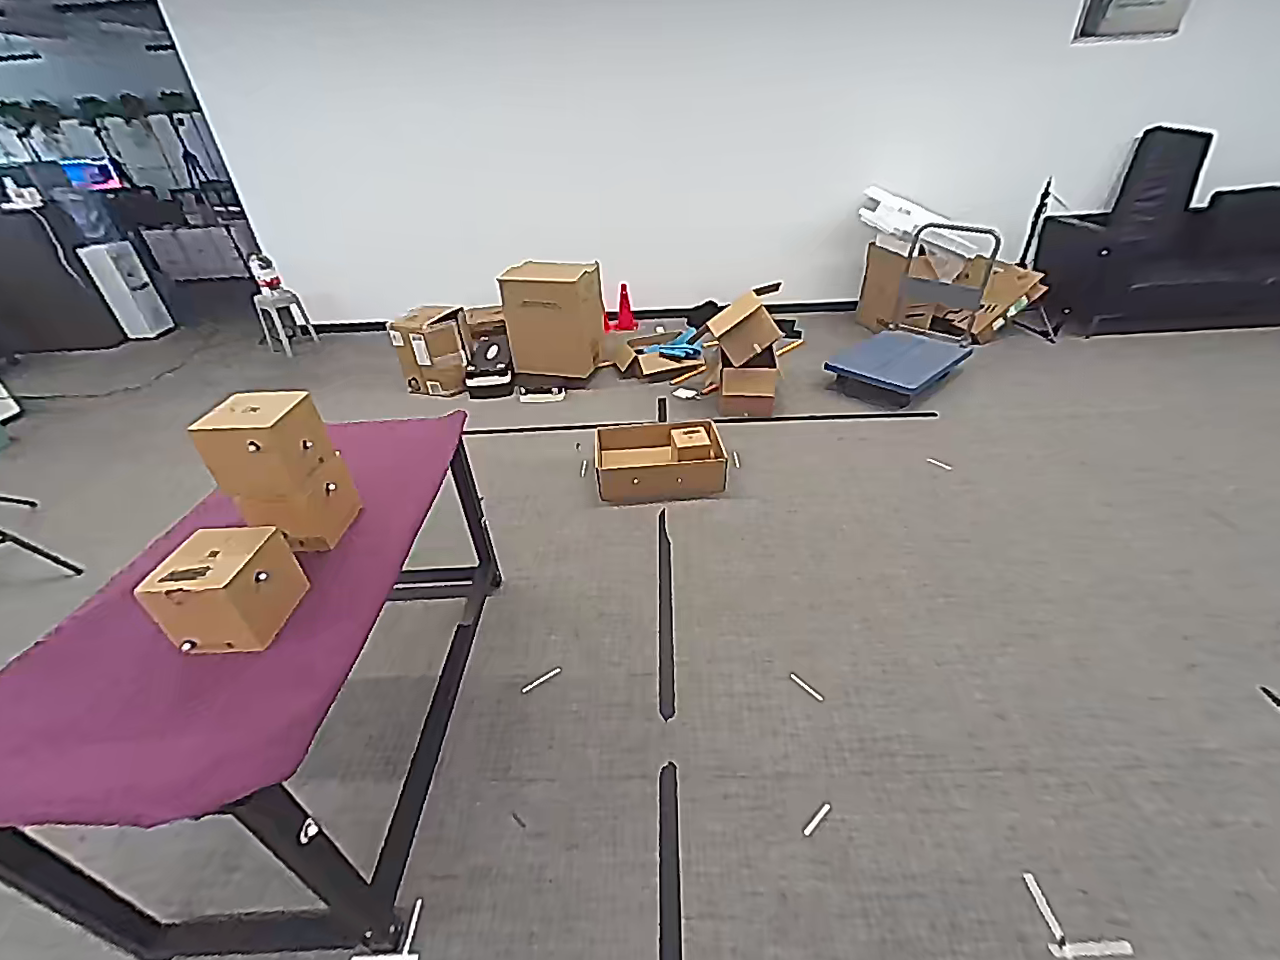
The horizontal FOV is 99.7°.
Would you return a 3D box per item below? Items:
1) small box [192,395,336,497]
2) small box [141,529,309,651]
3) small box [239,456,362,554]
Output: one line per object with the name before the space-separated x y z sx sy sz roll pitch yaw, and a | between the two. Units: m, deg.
small box | -0.814 -0.074 1.196 0.179 0.176 0.168 -2 35 3
small box | -0.790 0.217 1.058 0.168 0.176 0.179 -2 34 2
small box | -0.797 0.058 1.295 0.168 0.176 0.179 -2 35 2
